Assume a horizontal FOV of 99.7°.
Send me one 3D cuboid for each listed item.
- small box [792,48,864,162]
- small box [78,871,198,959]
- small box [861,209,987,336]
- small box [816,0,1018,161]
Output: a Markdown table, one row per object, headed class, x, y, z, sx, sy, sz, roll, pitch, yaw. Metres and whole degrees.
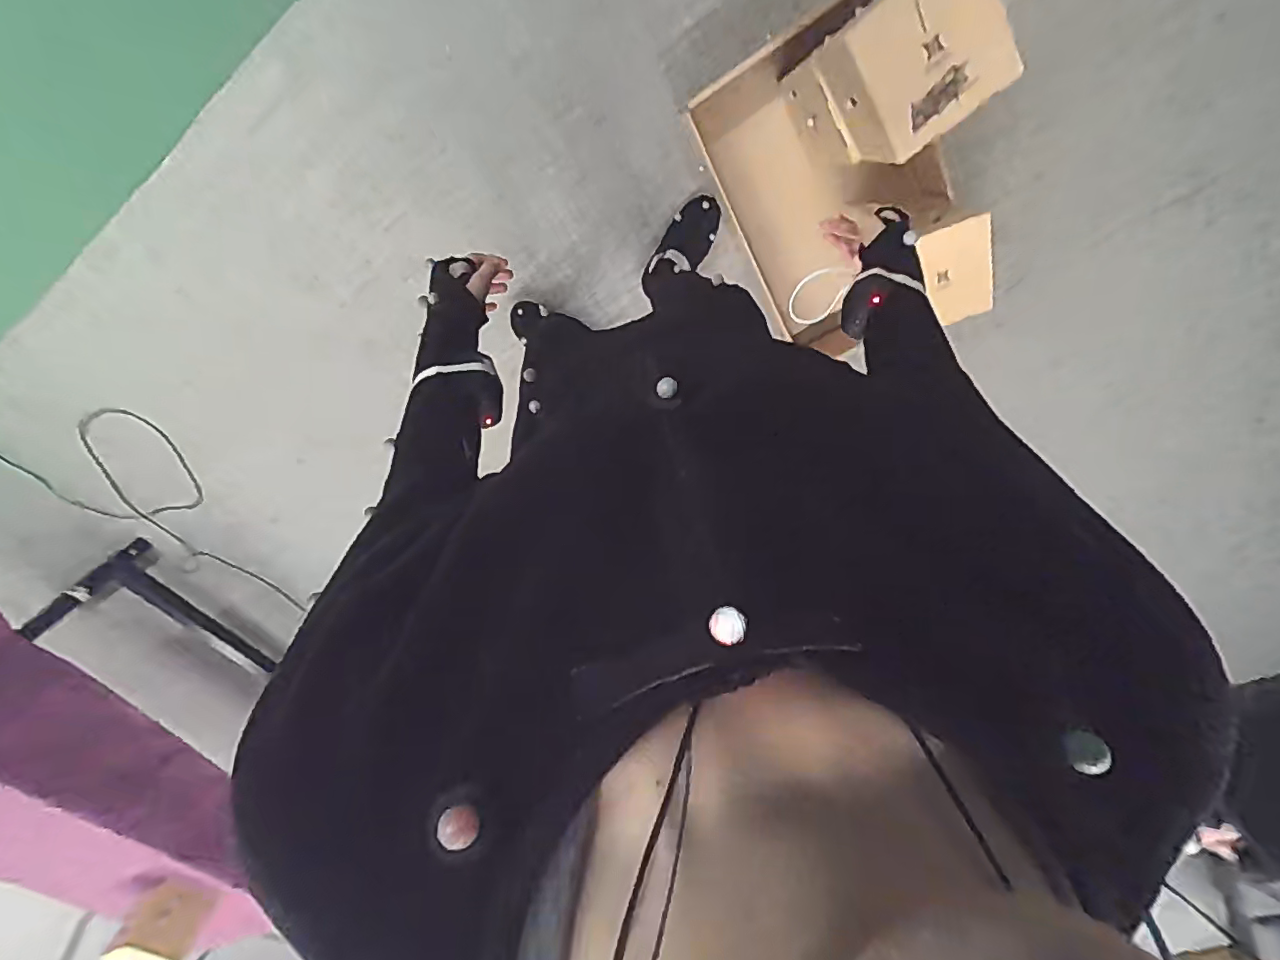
| class | x | y | z | sx | sy | sz | roll | pitch | yaw |
| --- | --- | --- | --- | --- | --- | --- | --- | --- | --- |
| small box | 0.373 | -0.656 | 0.884 | 0.179 | 0.176 | 0.168 | -28 | 116 | 19 |
| small box | -1.458 | 1.284 | 1.584 | 0.179 | 0.176 | 0.168 | -33 | 115 | 21 |
| small box | 0.538 | -0.405 | 1.040 | 0.168 | 0.176 | 0.179 | -15 | 121 | 13 |
| small box | 0.366 | -0.574 | 0.741 | 0.168 | 0.176 | 0.179 | -31 | 114 | 20 |
